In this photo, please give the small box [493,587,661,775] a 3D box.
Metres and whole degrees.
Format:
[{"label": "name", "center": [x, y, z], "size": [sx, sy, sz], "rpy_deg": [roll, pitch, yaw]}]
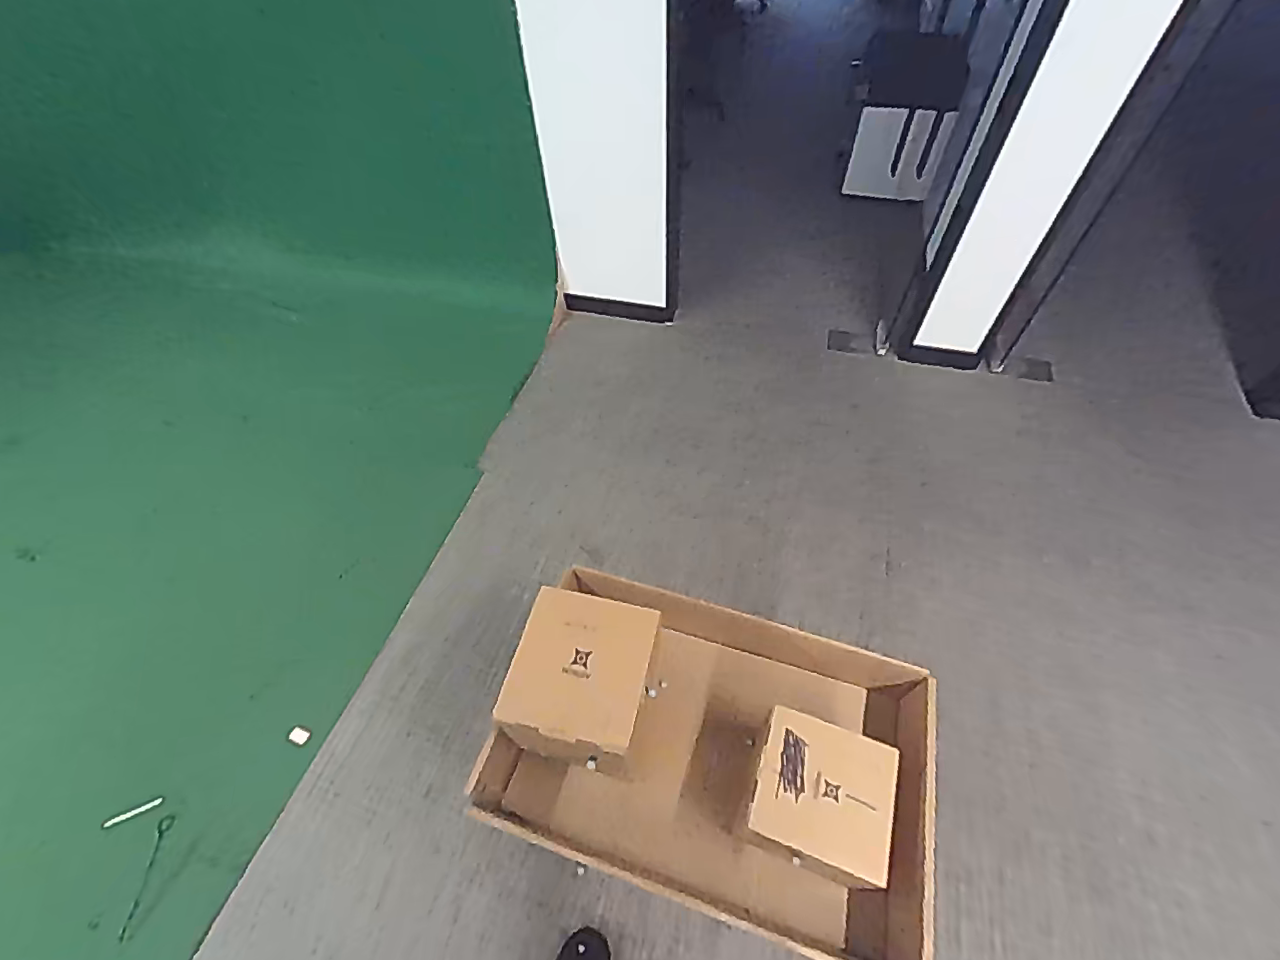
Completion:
[{"label": "small box", "center": [-0.069, 0.272, 0.720], "size": [0.168, 0.176, 0.179], "rpy_deg": [11, 54, 10]}]
